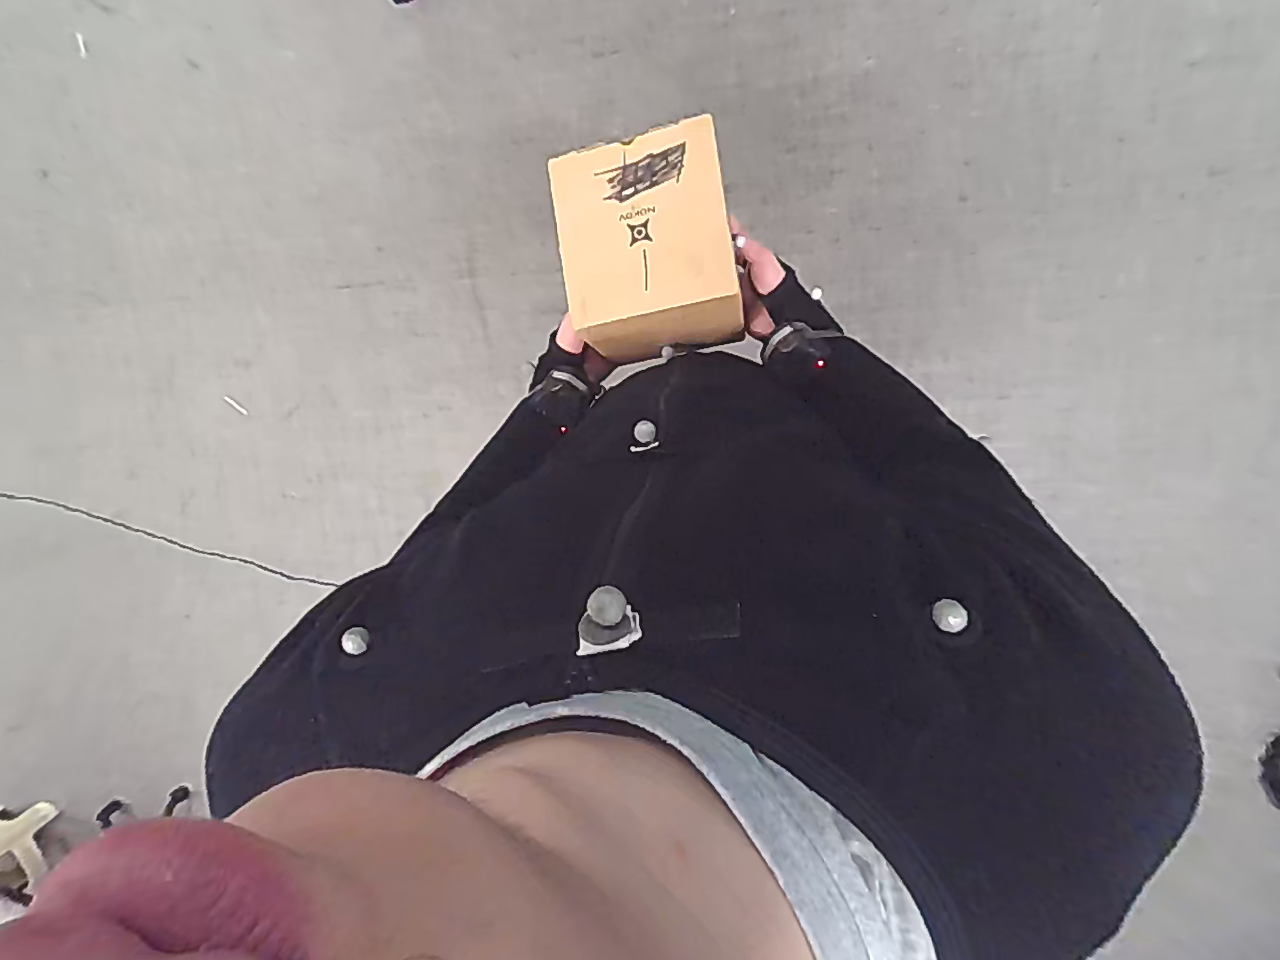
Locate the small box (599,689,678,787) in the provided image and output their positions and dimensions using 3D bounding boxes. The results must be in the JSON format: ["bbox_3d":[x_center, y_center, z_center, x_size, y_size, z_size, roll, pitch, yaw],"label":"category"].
[{"bbox_3d":[0.003,0.787,1.665,0.168,0.176,0.179,41,106,0],"label":"small box"}]
